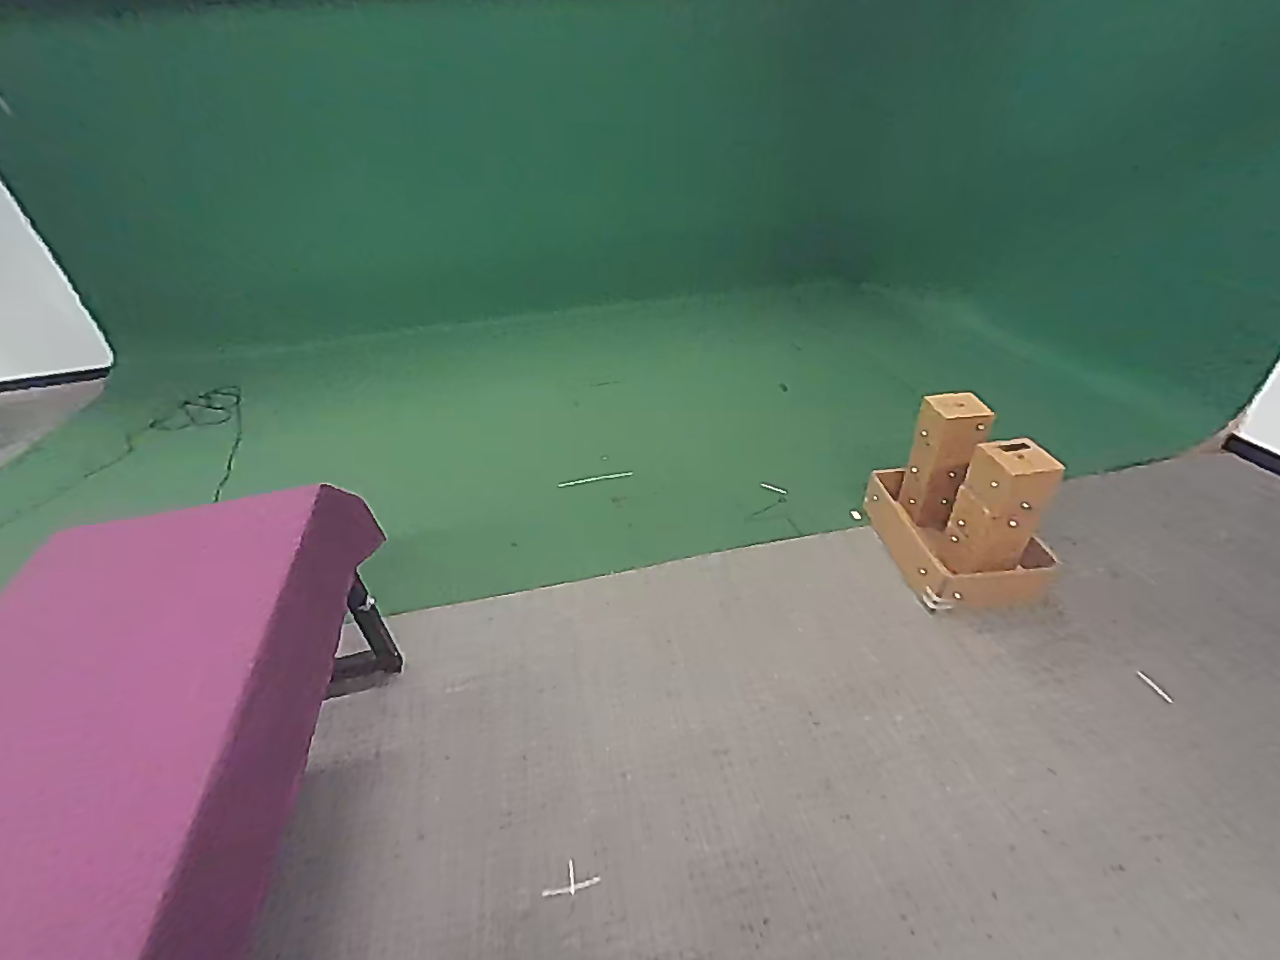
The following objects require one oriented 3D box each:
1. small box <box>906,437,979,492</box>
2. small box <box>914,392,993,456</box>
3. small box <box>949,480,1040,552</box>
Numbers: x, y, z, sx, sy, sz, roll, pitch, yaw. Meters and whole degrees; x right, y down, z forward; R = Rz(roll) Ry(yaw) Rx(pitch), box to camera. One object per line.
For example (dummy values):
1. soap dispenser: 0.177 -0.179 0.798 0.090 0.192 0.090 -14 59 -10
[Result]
1. small box: 1.150 -0.068 2.069 0.179 0.176 0.168 -4 37 3
2. small box: 1.135 -0.202 1.974 0.179 0.176 0.168 -5 37 1
3. small box: 1.174 0.120 1.804 0.179 0.176 0.168 -6 35 -1
